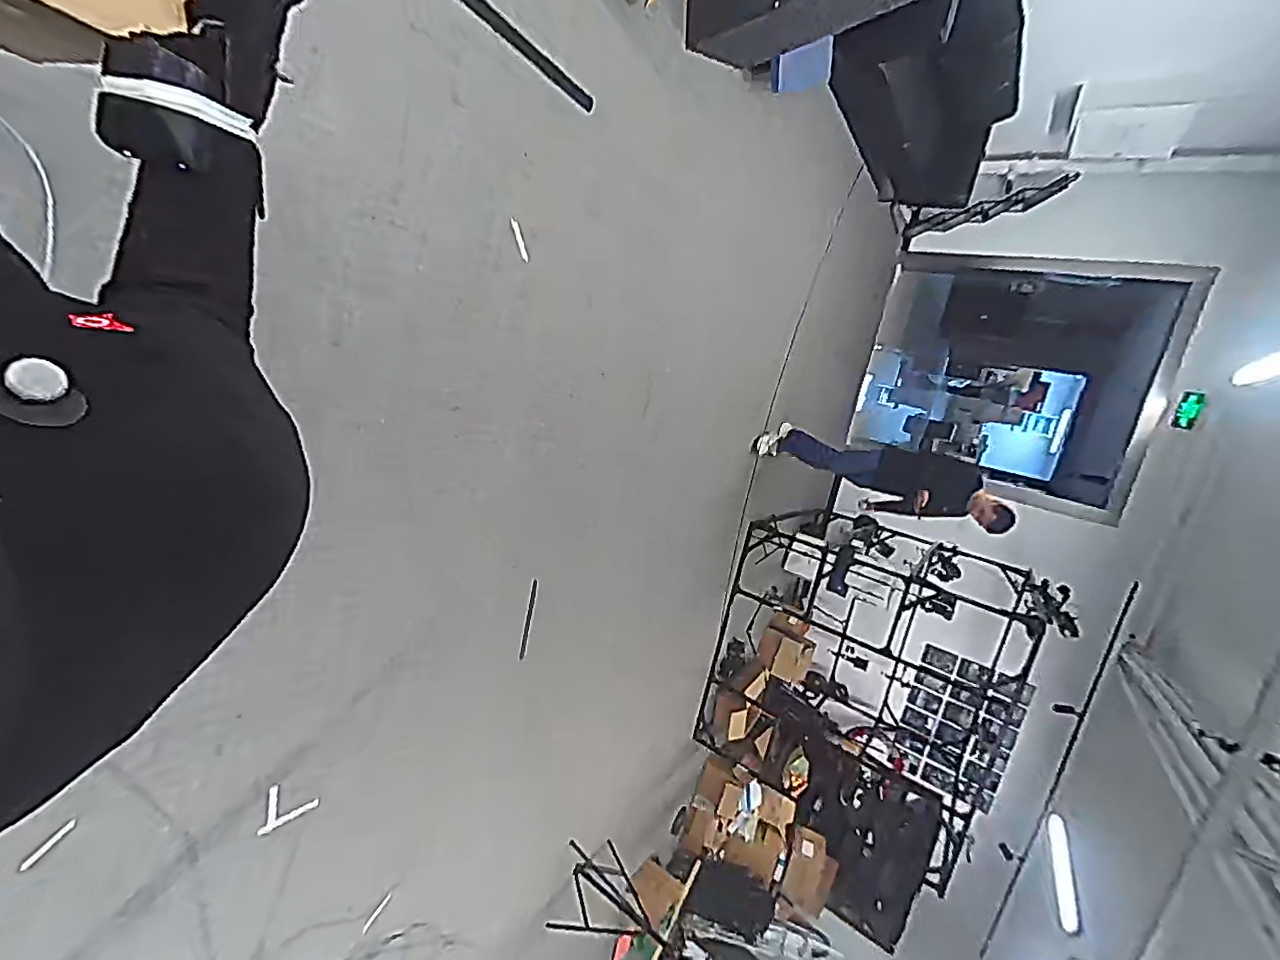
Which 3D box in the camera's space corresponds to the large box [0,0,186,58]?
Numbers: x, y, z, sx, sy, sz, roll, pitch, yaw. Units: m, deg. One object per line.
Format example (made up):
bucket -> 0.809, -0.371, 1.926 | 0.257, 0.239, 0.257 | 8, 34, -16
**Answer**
large box -> -0.492, -0.467, 0.228 | 0.408, 0.320, 0.320 | -6, 118, -60
